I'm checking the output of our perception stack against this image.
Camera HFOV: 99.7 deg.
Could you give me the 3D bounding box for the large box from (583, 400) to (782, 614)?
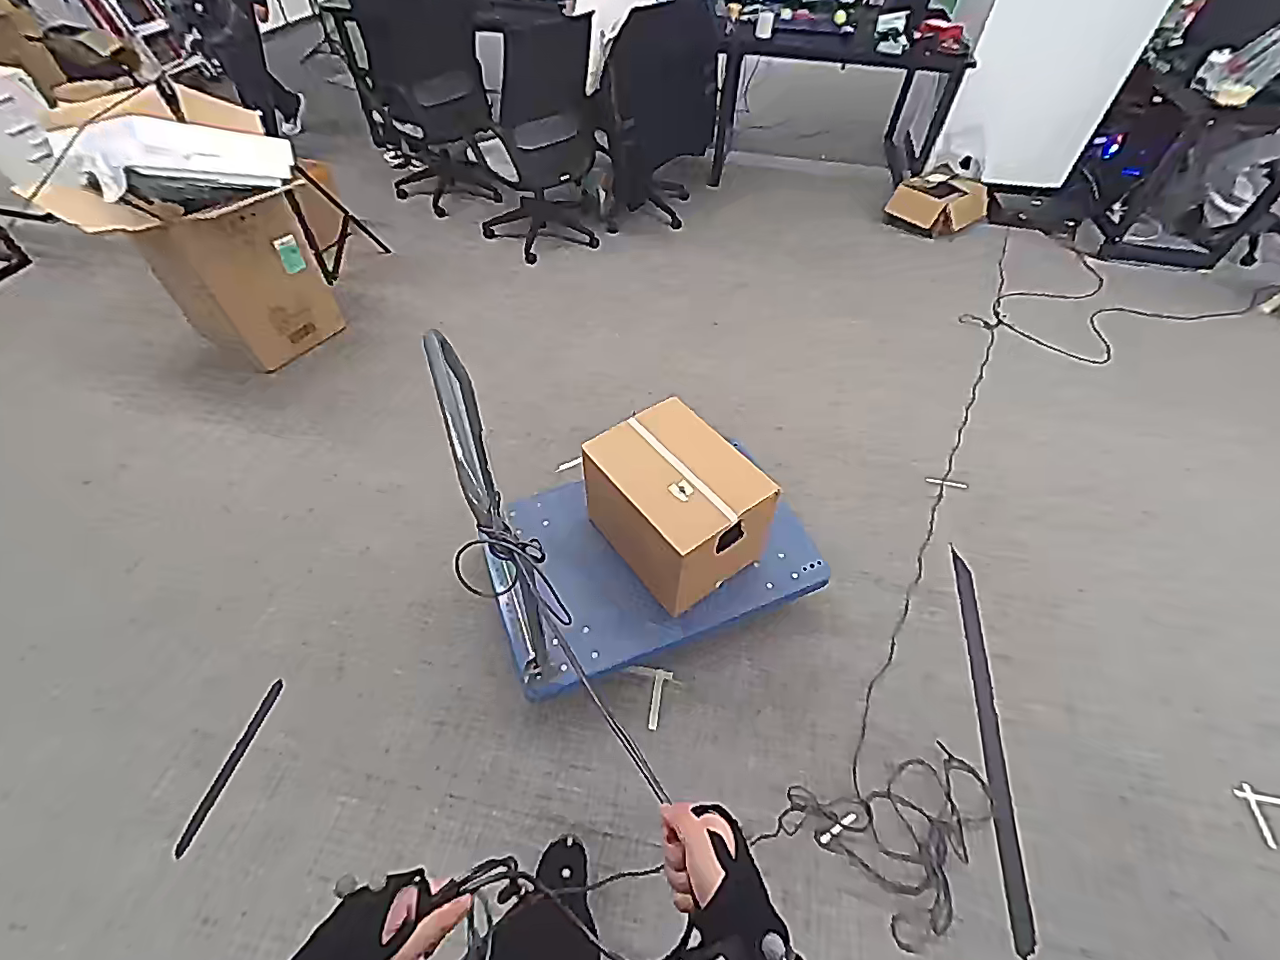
[{"bbox_3d":[0.090,0.065,1.425,0.320,0.320,0.408,-31,59,-22],"label":"large box"}]
